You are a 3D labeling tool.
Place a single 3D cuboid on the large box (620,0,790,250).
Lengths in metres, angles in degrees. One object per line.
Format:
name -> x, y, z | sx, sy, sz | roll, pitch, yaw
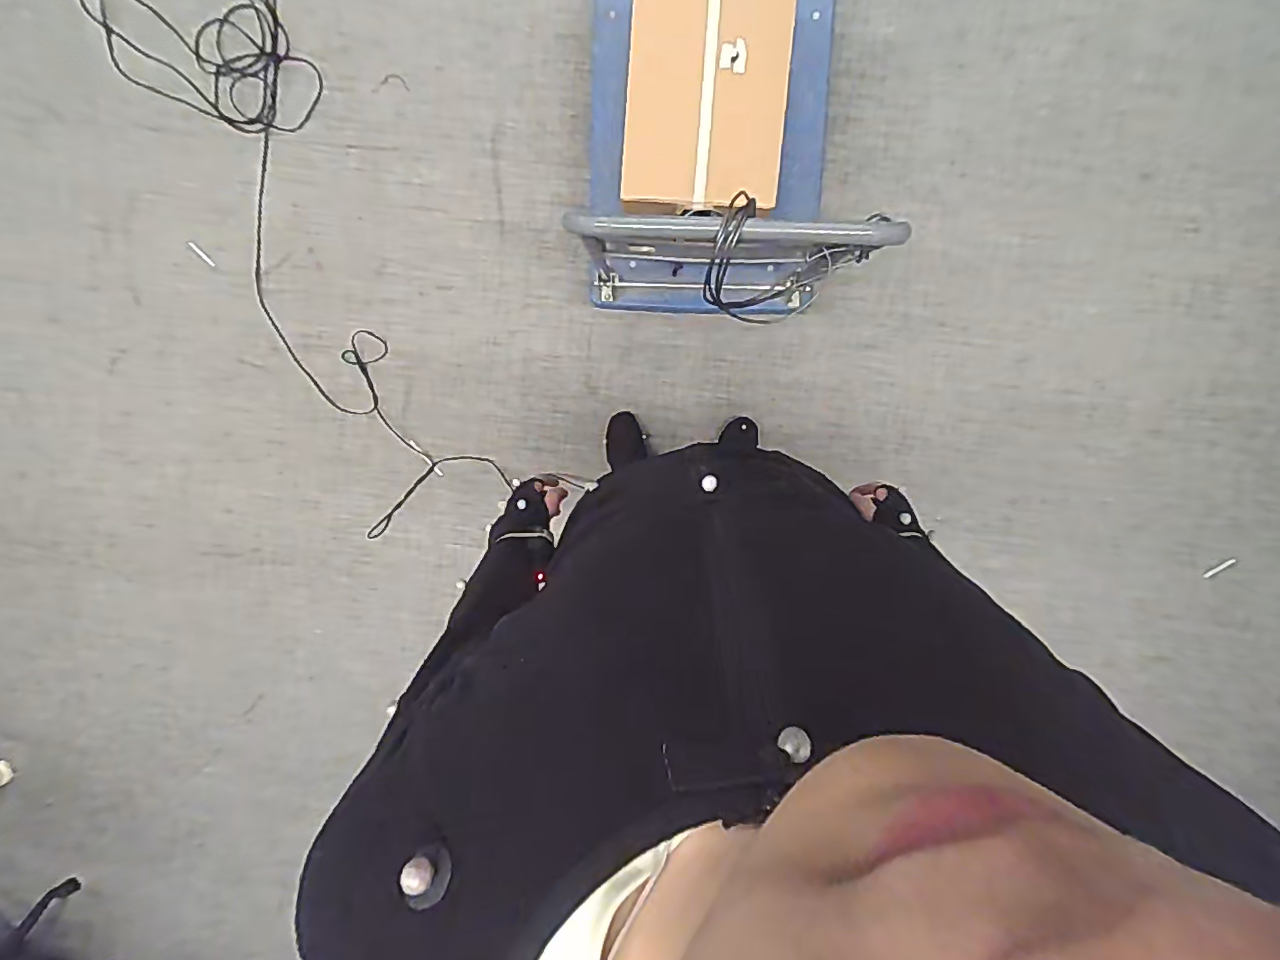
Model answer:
large box -> 0.132, -0.767, 1.206 | 0.320, 0.320, 0.408 | 4, 97, 2
